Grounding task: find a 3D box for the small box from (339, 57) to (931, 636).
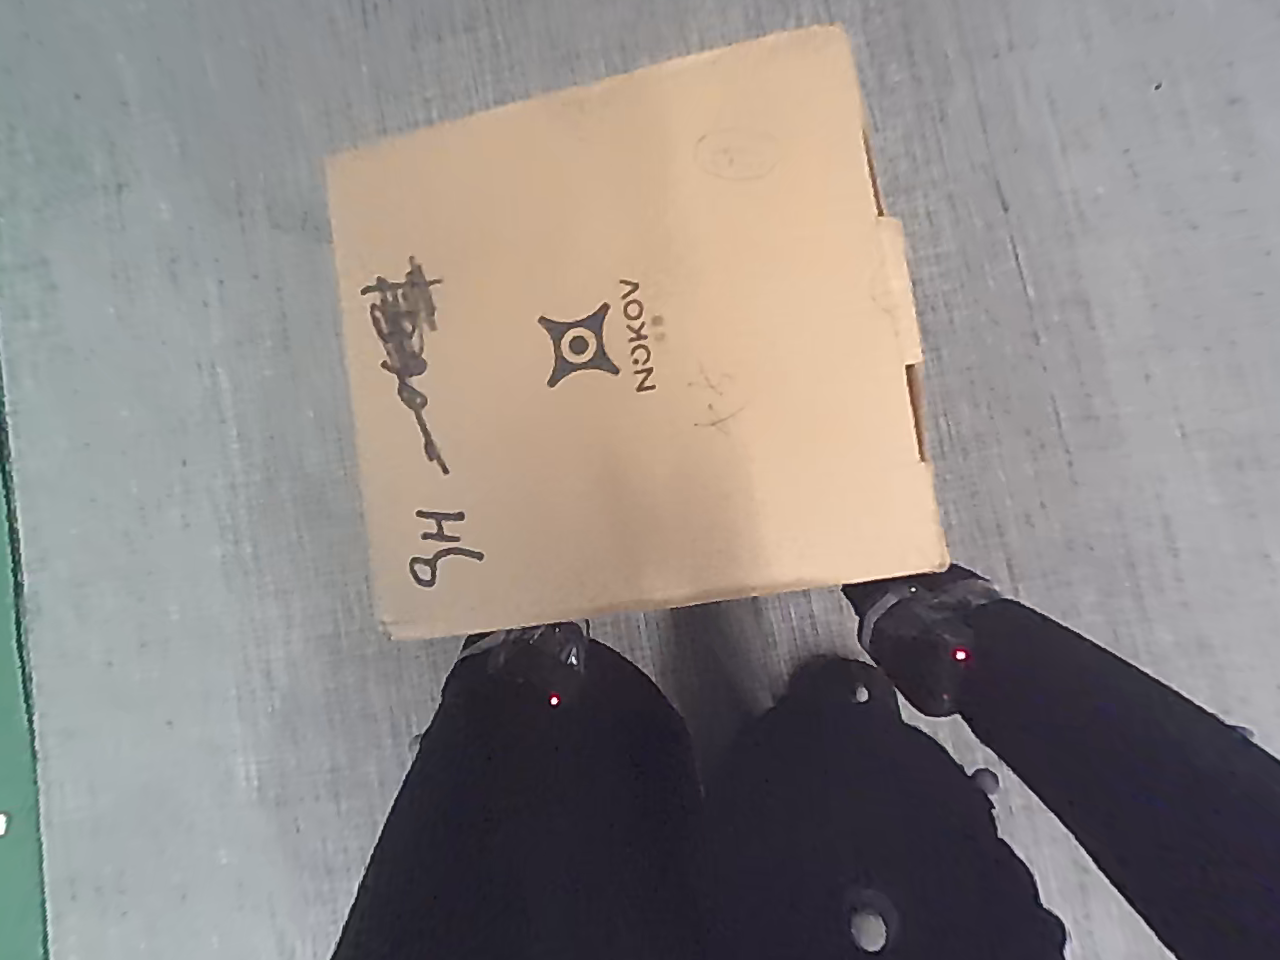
[{"bbox_3d":[0.001,-0.037,0.253,0.179,0.176,0.168,-9,86,7],"label":"small box"}]
